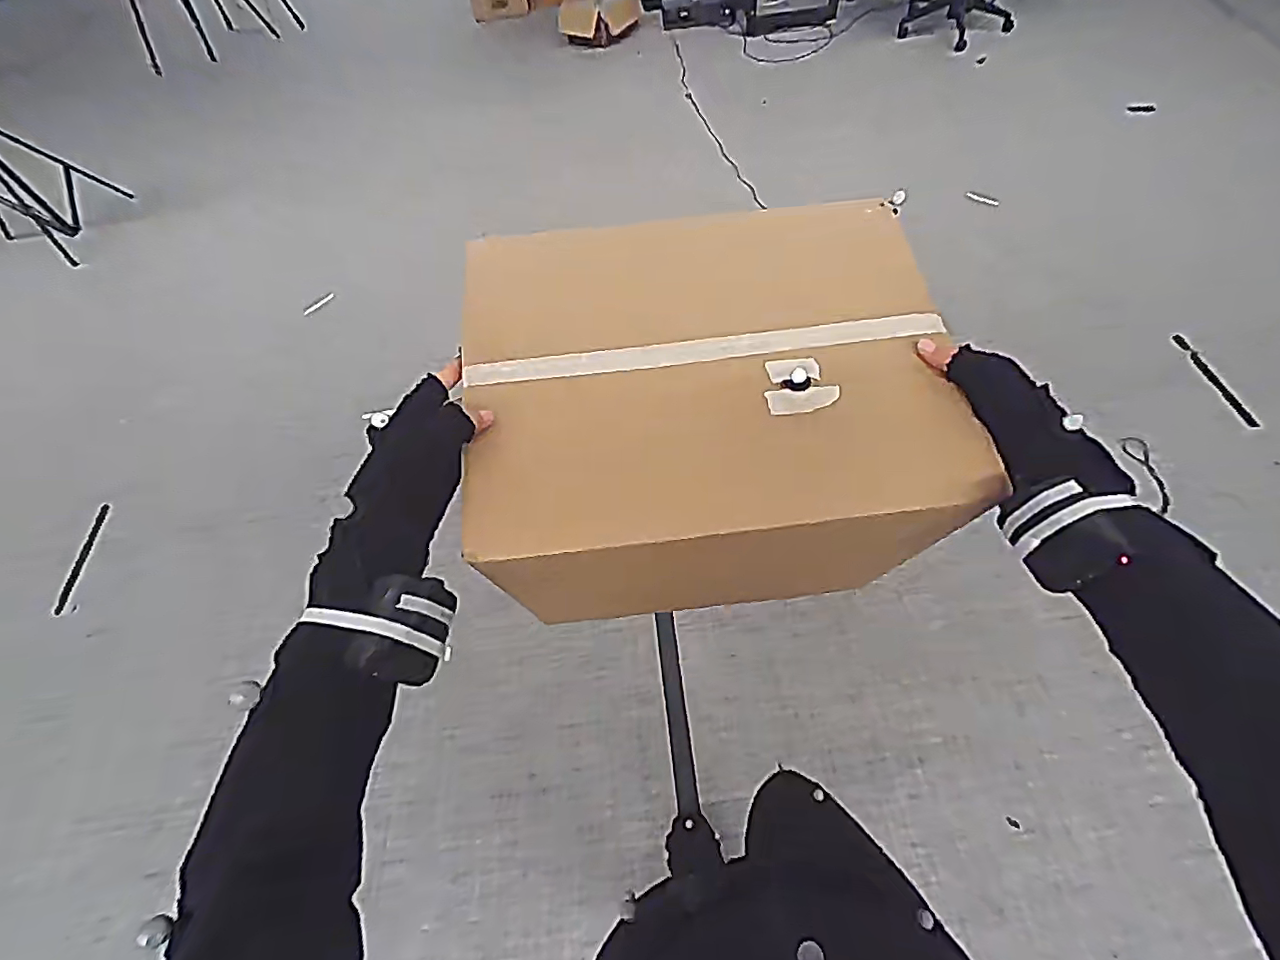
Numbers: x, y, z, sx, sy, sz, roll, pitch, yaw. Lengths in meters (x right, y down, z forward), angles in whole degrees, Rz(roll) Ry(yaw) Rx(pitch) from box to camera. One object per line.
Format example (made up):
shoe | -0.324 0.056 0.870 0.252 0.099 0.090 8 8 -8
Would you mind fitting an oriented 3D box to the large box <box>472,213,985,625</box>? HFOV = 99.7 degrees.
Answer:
large box | 0.055 -0.042 0.605 0.408 0.320 0.320 -7 67 -1
